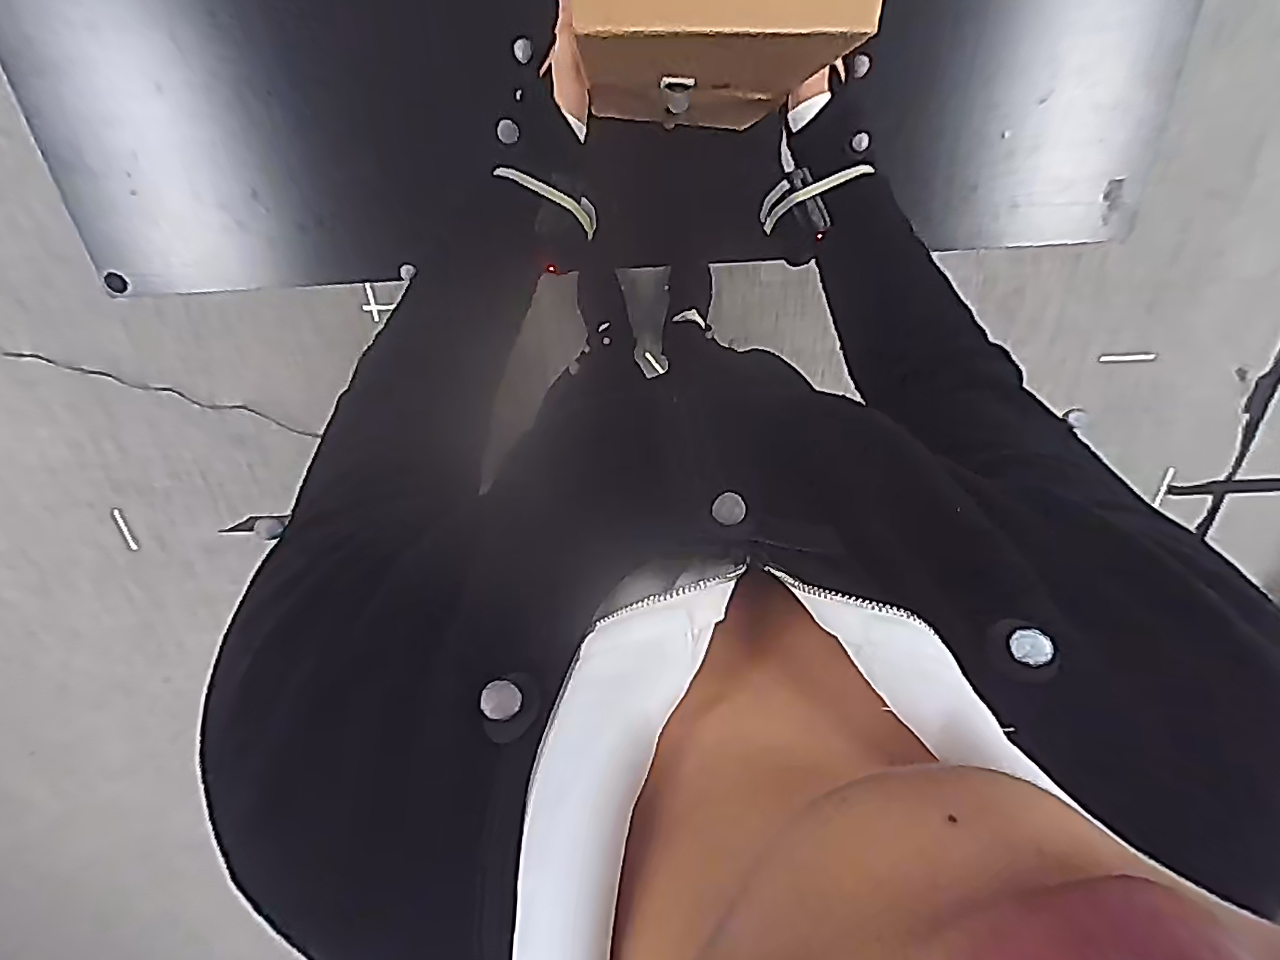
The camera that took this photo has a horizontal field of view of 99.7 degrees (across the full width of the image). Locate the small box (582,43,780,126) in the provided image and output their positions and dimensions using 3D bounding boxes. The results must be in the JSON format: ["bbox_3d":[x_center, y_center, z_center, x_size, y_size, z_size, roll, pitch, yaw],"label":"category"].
[{"bbox_3d":[0.039,-0.430,0.476,0.168,0.176,0.179,3,115,-5],"label":"small box"}]

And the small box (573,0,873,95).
[{"bbox_3d":[0.042,-0.357,0.330,0.168,0.176,0.179,-1,117,-1],"label":"small box"}]
